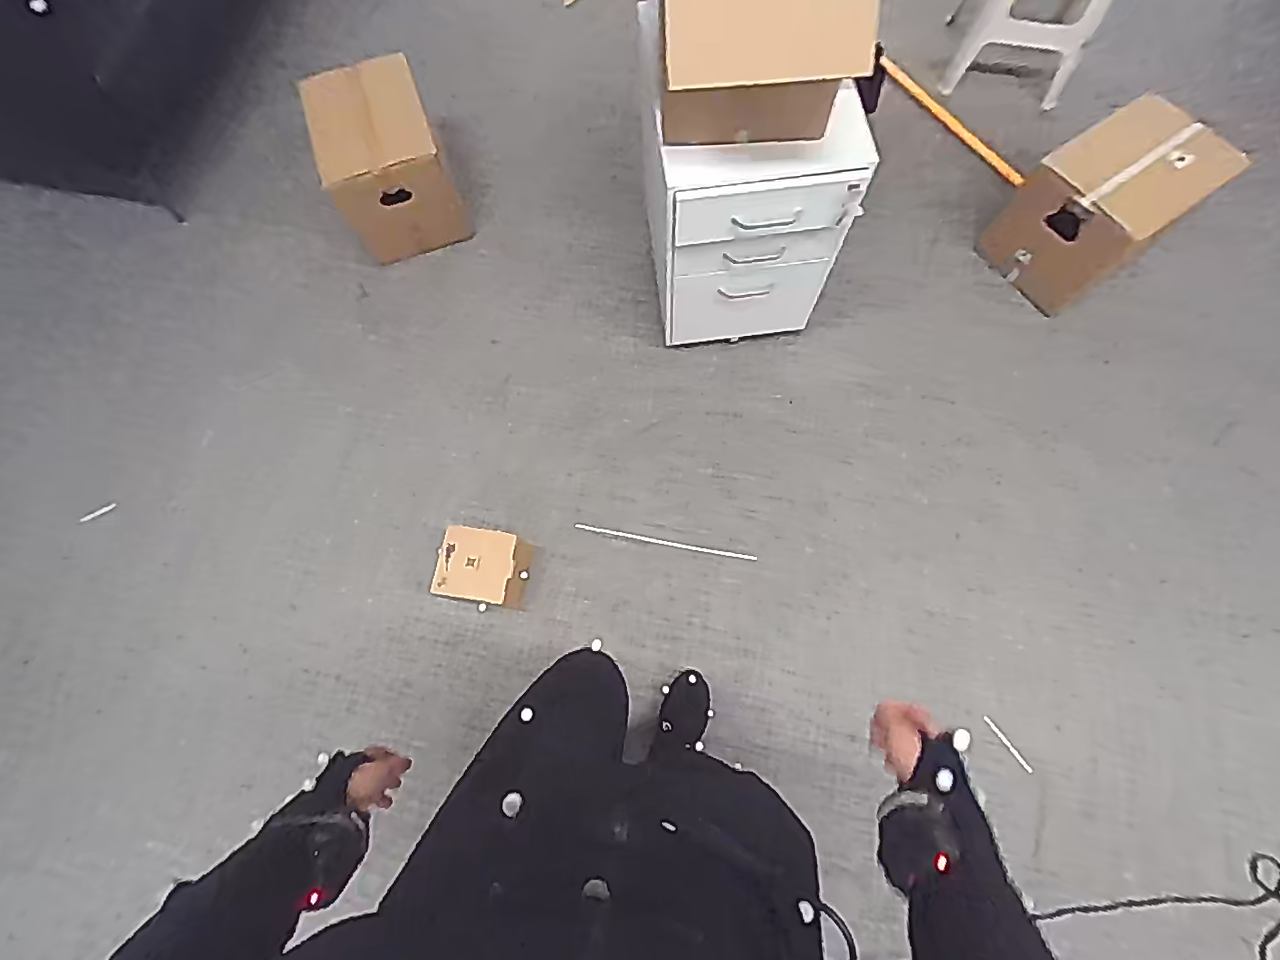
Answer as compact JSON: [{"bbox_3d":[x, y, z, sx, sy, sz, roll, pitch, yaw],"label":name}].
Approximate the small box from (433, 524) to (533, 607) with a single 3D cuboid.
[{"bbox_3d":[-0.378,0.218,1.337,0.179,0.176,0.168,9,73,5],"label":"small box"}]
